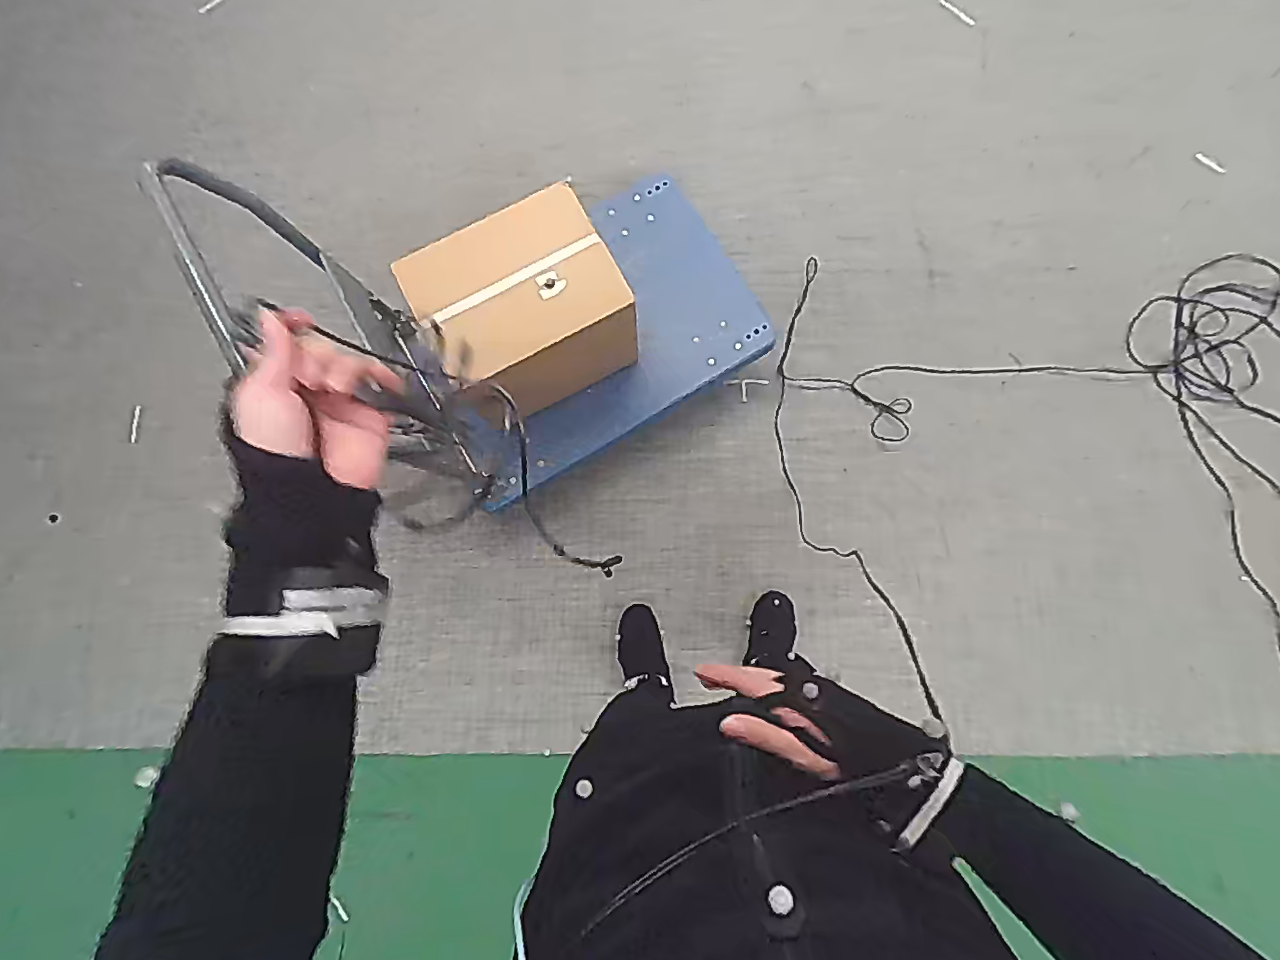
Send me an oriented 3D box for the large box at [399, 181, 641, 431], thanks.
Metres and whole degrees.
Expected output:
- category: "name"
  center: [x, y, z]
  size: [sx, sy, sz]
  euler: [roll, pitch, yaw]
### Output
- category: "large box"
  center: [-0.241, -0.366, 1.219]
  size: [0.408, 0.320, 0.320]
  euler: [-28, 82, -4]
